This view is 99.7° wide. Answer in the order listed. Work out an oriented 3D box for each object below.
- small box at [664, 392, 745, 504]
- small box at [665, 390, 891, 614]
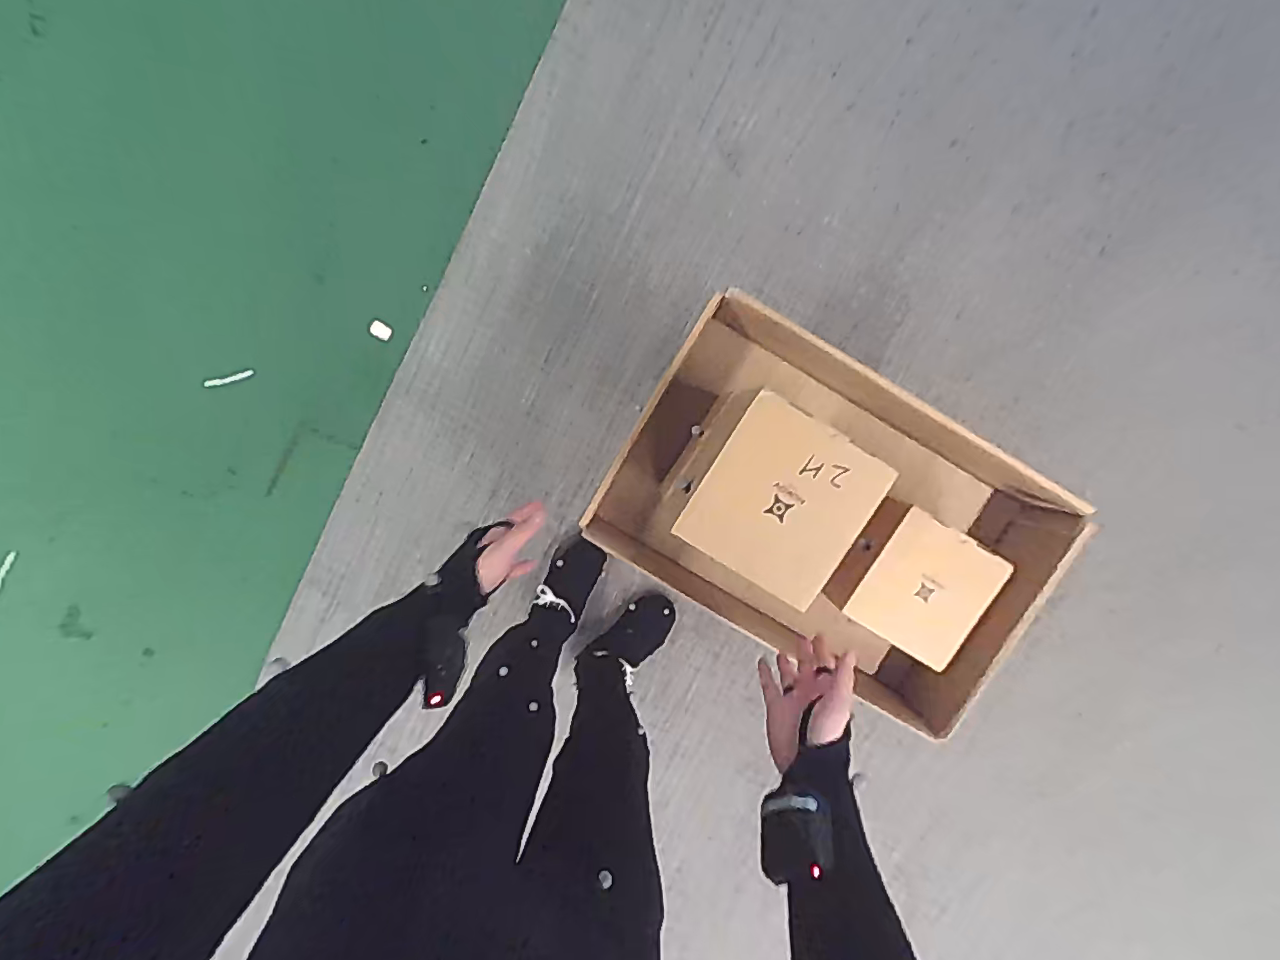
[{"bbox_3d":[0.143,-0.006,0.787,0.168,0.176,0.179,33,94,-2],"label":"small box"},{"bbox_3d":[0.142,0.017,0.625,0.168,0.176,0.179,32,95,-3],"label":"small box"}]
